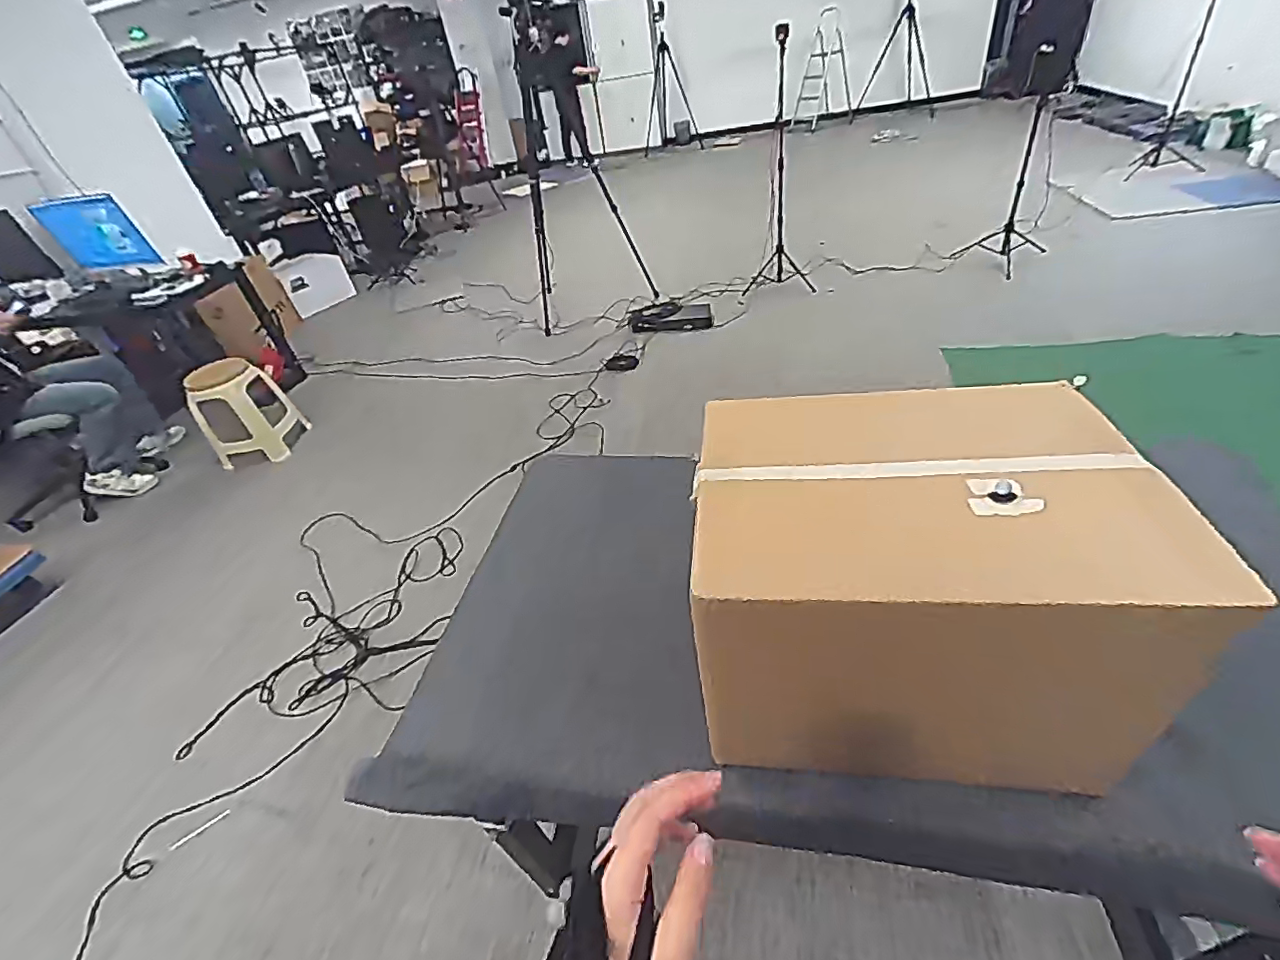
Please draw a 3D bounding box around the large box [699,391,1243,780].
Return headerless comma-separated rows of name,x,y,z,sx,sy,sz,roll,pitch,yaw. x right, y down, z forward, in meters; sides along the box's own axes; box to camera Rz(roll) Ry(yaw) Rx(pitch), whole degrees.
large box,0.279,0.114,0.628,0.408,0.320,0.320,-1,40,10
